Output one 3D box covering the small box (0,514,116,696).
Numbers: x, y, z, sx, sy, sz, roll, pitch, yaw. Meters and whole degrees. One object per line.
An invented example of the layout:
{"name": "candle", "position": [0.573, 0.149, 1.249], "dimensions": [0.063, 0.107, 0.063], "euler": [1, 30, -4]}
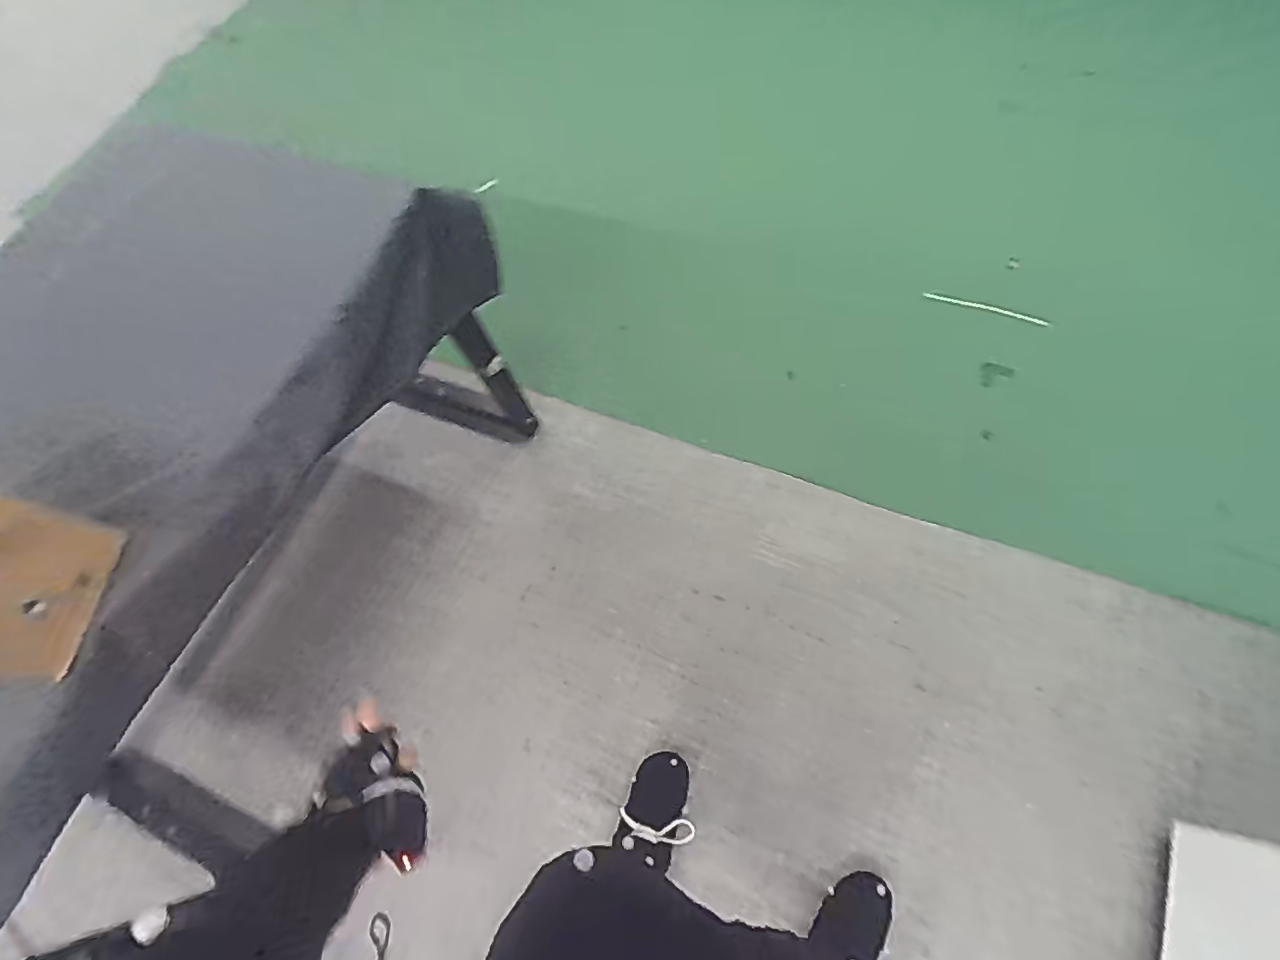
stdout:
{"name": "small box", "position": [-0.703, 0.121, 0.535], "dimensions": [0.179, 0.176, 0.168], "euler": [0, 67, 8]}
